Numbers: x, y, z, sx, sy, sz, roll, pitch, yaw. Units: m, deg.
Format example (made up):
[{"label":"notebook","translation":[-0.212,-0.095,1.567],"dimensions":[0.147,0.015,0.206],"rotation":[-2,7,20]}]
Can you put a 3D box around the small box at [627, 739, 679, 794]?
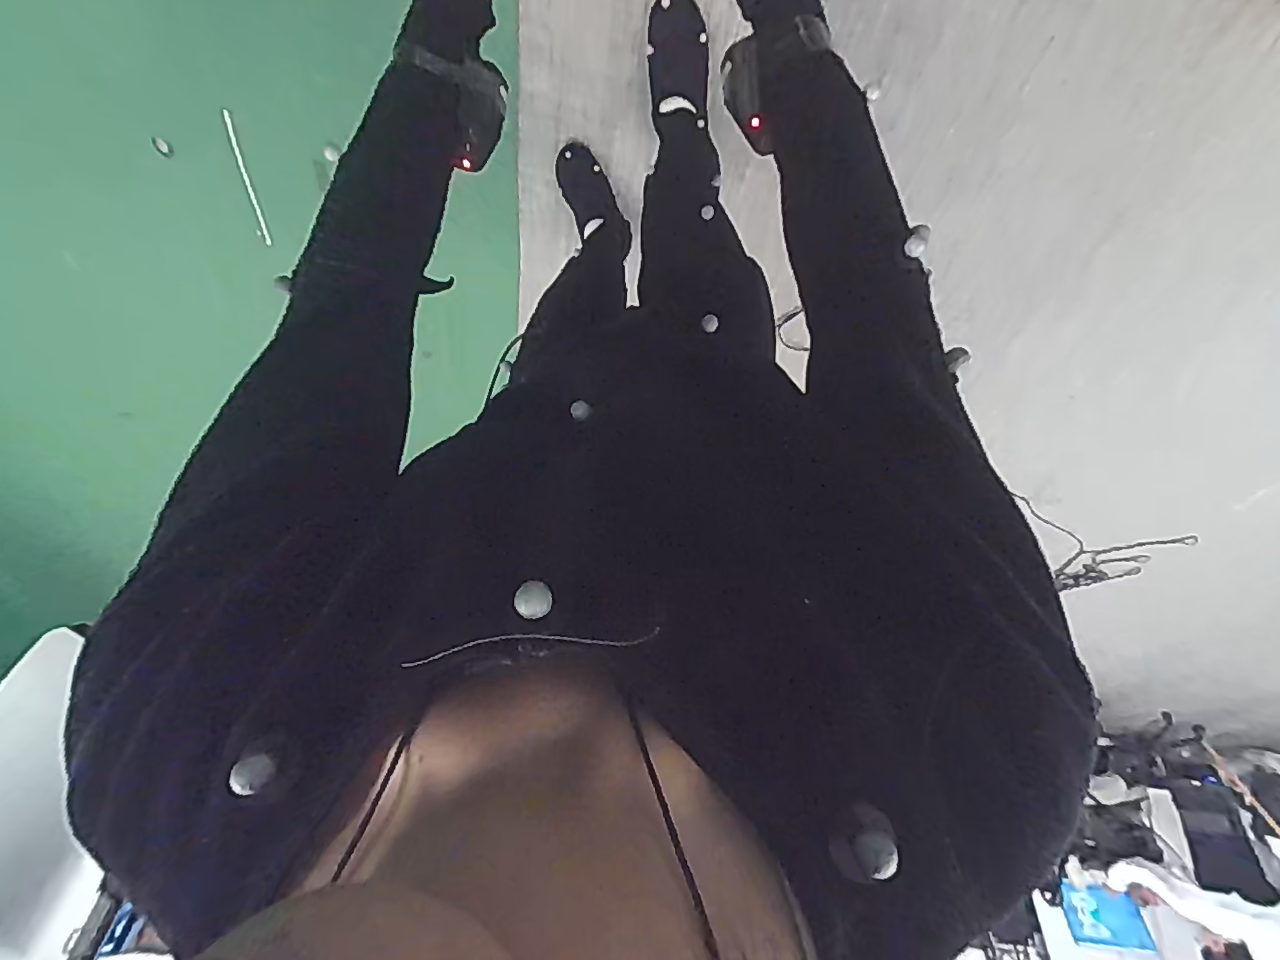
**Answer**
[{"label":"small box","translation":[0.050,1.114,2.080],"dimensions":[0.168,0.176,0.179],"rotation":[12,139,-7]}]
